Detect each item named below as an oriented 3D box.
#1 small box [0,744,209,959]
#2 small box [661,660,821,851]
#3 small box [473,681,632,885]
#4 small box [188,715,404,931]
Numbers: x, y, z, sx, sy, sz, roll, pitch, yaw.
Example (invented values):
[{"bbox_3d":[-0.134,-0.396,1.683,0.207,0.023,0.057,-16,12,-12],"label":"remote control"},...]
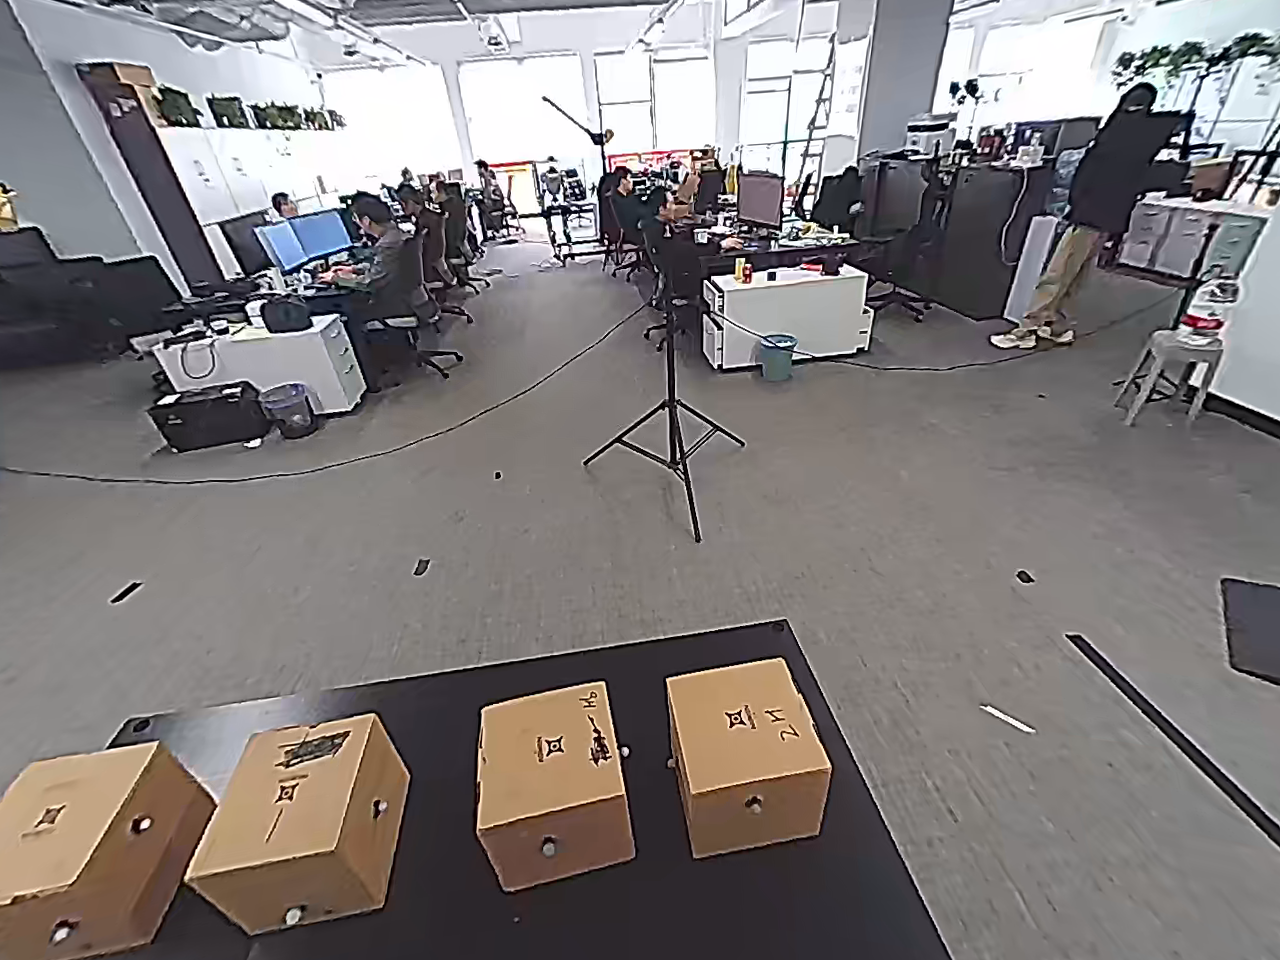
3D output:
[{"bbox_3d":[-0.717,0.484,0.703,0.168,0.176,0.179,-7,32,-7],"label":"small box"},{"bbox_3d":[0.132,0.383,0.755,0.179,0.176,0.168,-8,33,-5],"label":"small box"},{"bbox_3d":[-0.116,0.413,0.741,0.179,0.176,0.168,-10,33,-8],"label":"small box"},{"bbox_3d":[-0.432,0.451,0.719,0.168,0.176,0.179,-8,34,-5],"label":"small box"}]
